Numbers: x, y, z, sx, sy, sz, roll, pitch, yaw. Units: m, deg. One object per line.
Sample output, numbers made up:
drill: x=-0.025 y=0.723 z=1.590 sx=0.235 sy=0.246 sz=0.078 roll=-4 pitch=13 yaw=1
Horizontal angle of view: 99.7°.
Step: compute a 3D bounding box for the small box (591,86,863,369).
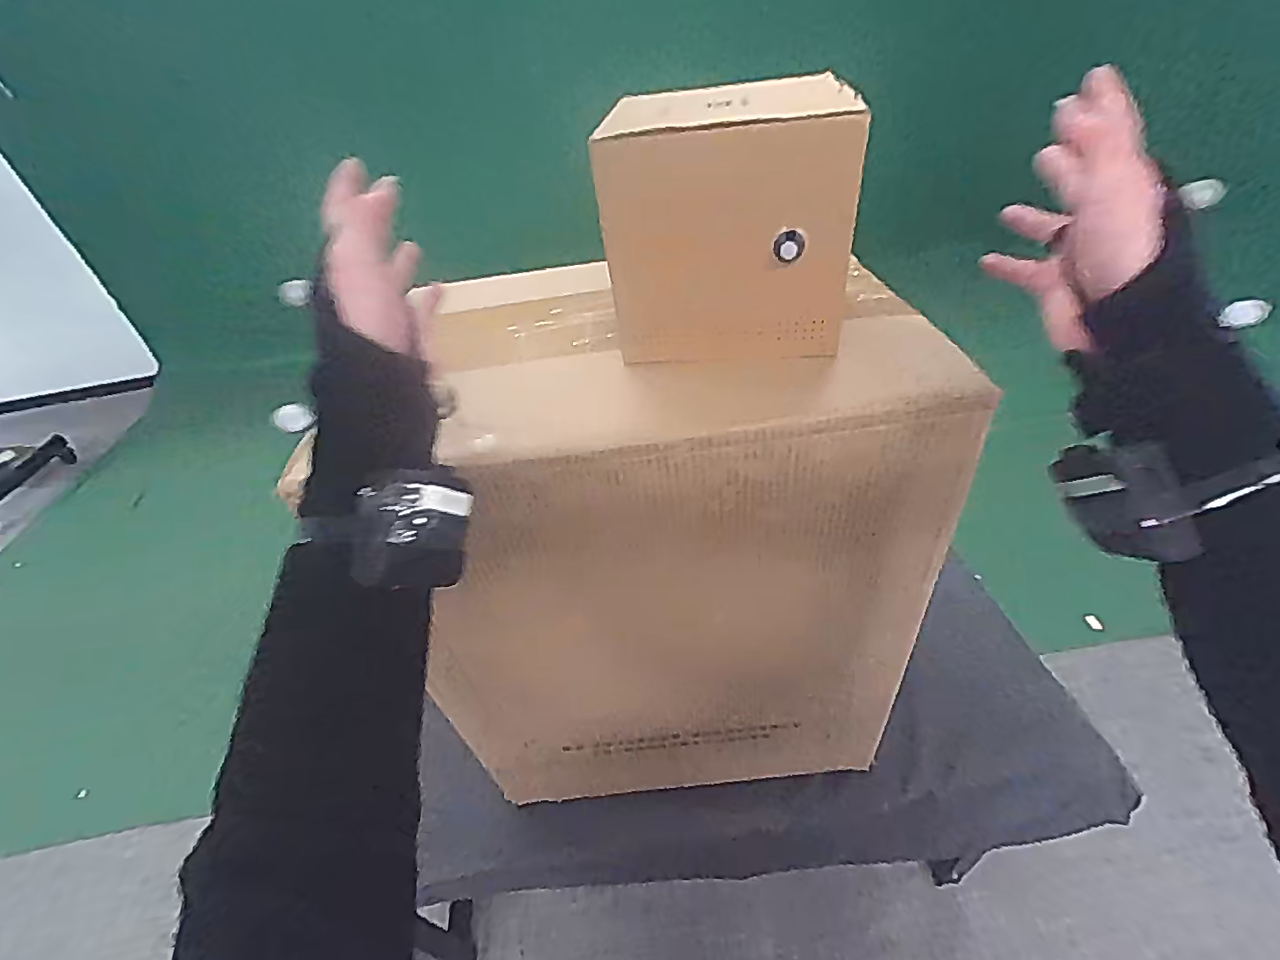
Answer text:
small box: x=0.073 y=-0.208 z=0.457 sx=0.179 sy=0.176 sz=0.168 roll=-1 pitch=41 yaw=11
